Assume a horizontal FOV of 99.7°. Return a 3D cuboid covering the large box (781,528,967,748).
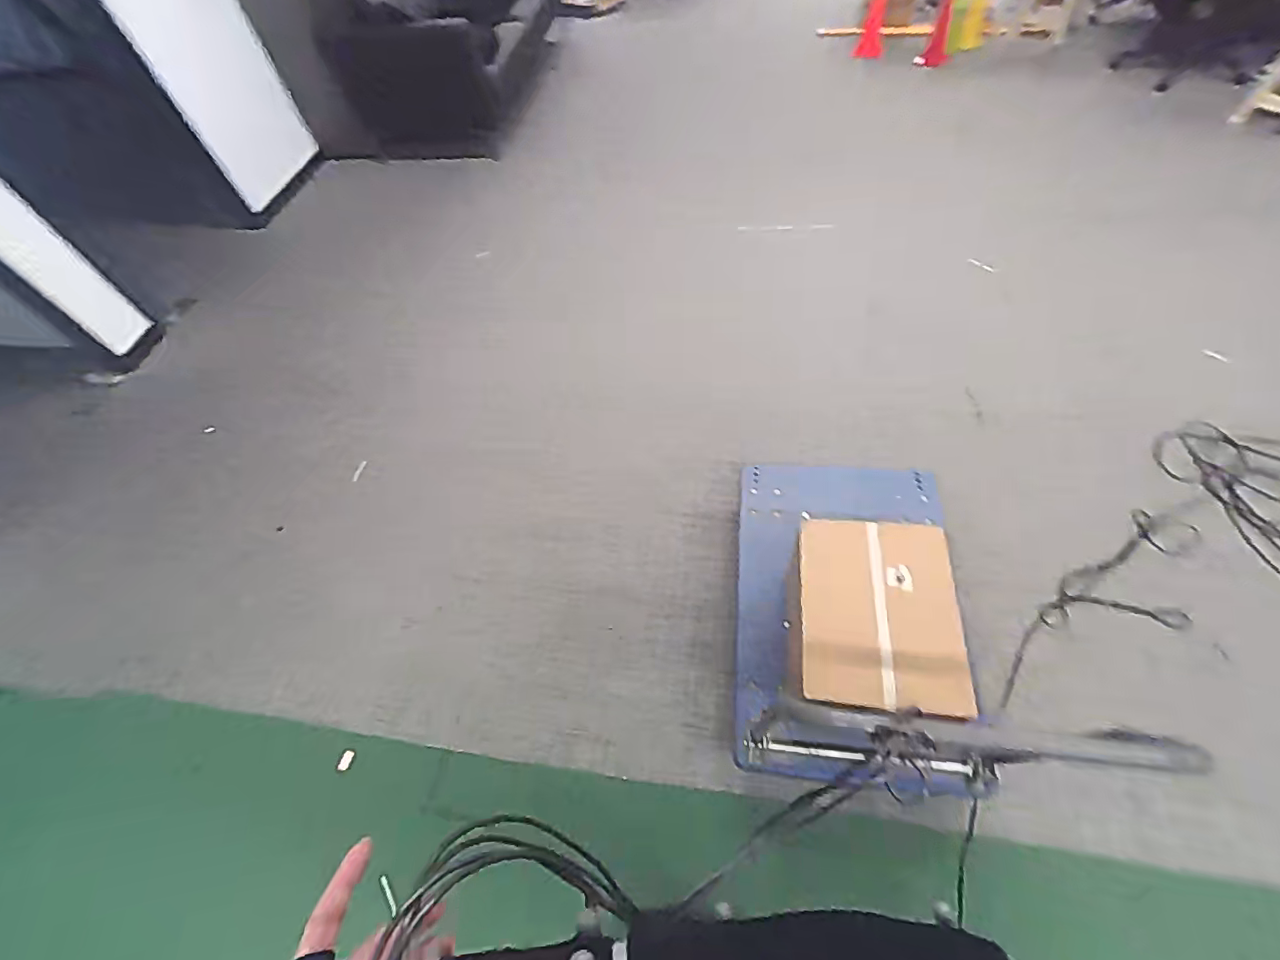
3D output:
[{"bbox_3d":[0.502,0.369,1.261,0.320,0.320,0.408,4,55,9],"label":"large box"}]
